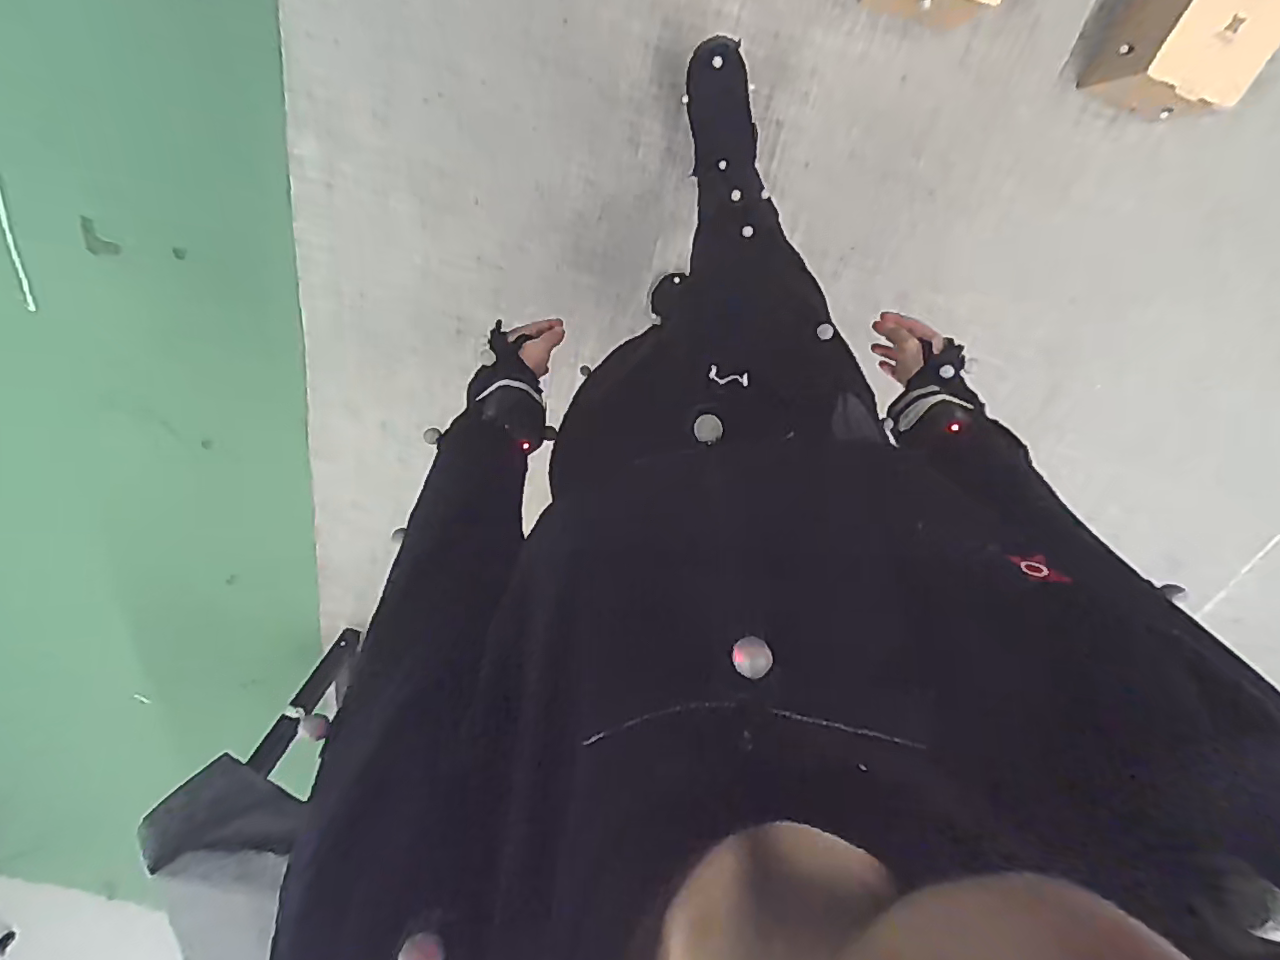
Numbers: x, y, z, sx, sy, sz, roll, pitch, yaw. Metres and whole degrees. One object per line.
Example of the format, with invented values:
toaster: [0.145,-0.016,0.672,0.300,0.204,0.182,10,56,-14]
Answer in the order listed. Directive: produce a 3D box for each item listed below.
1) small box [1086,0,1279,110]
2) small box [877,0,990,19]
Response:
small box: [0.888,-0.733,0.879,0.168,0.176,0.179,17,118,-7]
small box: [0.476,-0.853,0.838,0.179,0.176,0.168,14,119,-4]
